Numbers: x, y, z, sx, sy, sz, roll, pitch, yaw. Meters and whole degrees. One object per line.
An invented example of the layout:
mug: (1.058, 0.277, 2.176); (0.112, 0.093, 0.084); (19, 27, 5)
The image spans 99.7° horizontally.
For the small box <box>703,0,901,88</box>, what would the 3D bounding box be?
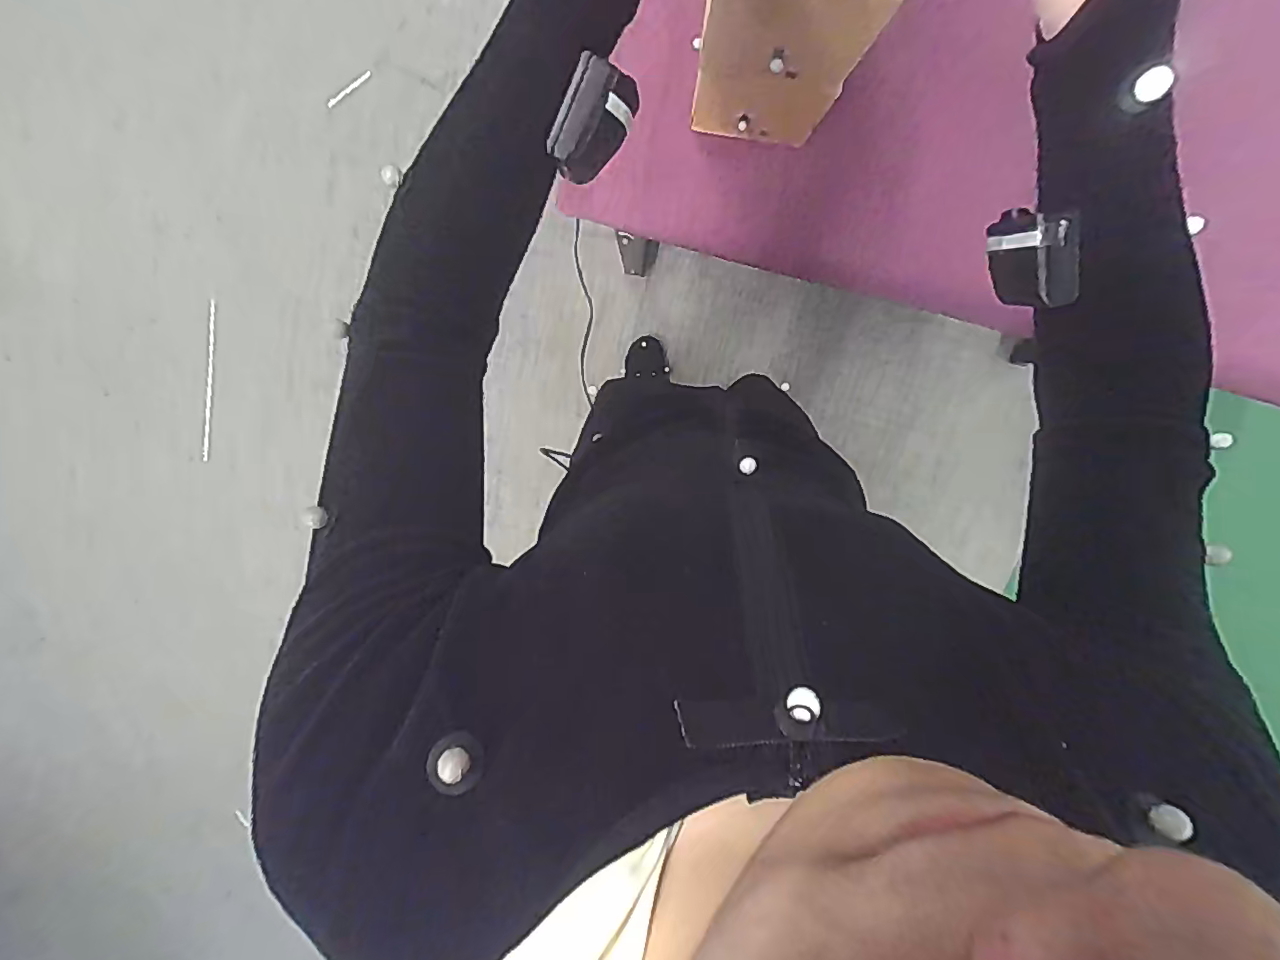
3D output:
small box: (0.159, -0.524, 0.520); (0.168, 0.176, 0.179); (7, 103, -1)

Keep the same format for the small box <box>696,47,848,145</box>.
small box: (0.167, -0.559, 0.680); (0.168, 0.176, 0.179); (8, 103, -1)
